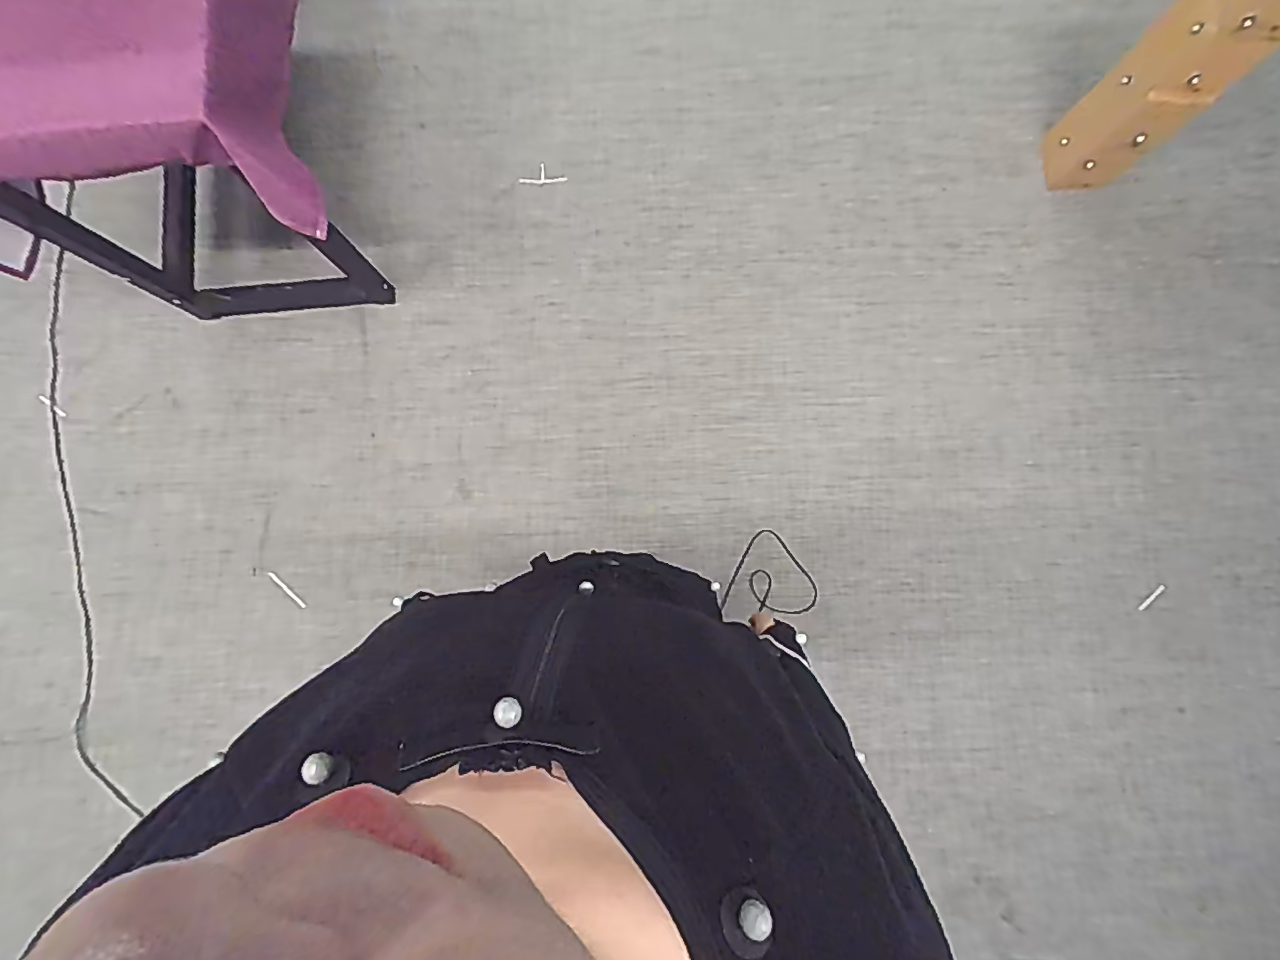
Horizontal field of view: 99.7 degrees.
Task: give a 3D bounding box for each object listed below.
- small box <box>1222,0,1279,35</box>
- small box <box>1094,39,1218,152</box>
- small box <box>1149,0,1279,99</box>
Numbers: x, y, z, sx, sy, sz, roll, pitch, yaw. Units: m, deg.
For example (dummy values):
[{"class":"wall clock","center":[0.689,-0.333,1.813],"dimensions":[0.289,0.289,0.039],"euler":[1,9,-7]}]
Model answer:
[{"class":"small box","center":[1.342,-1.050,1.092],"dimensions":[0.168,0.176,0.179],"euler":[7,82,0]},{"class":"small box","center":[1.338,-1.001,1.415],"dimensions":[0.168,0.176,0.179],"euler":[2,83,1]},{"class":"small box","center":[1.338,-1.033,1.255],"dimensions":[0.168,0.176,0.179],"euler":[5,83,1]}]
